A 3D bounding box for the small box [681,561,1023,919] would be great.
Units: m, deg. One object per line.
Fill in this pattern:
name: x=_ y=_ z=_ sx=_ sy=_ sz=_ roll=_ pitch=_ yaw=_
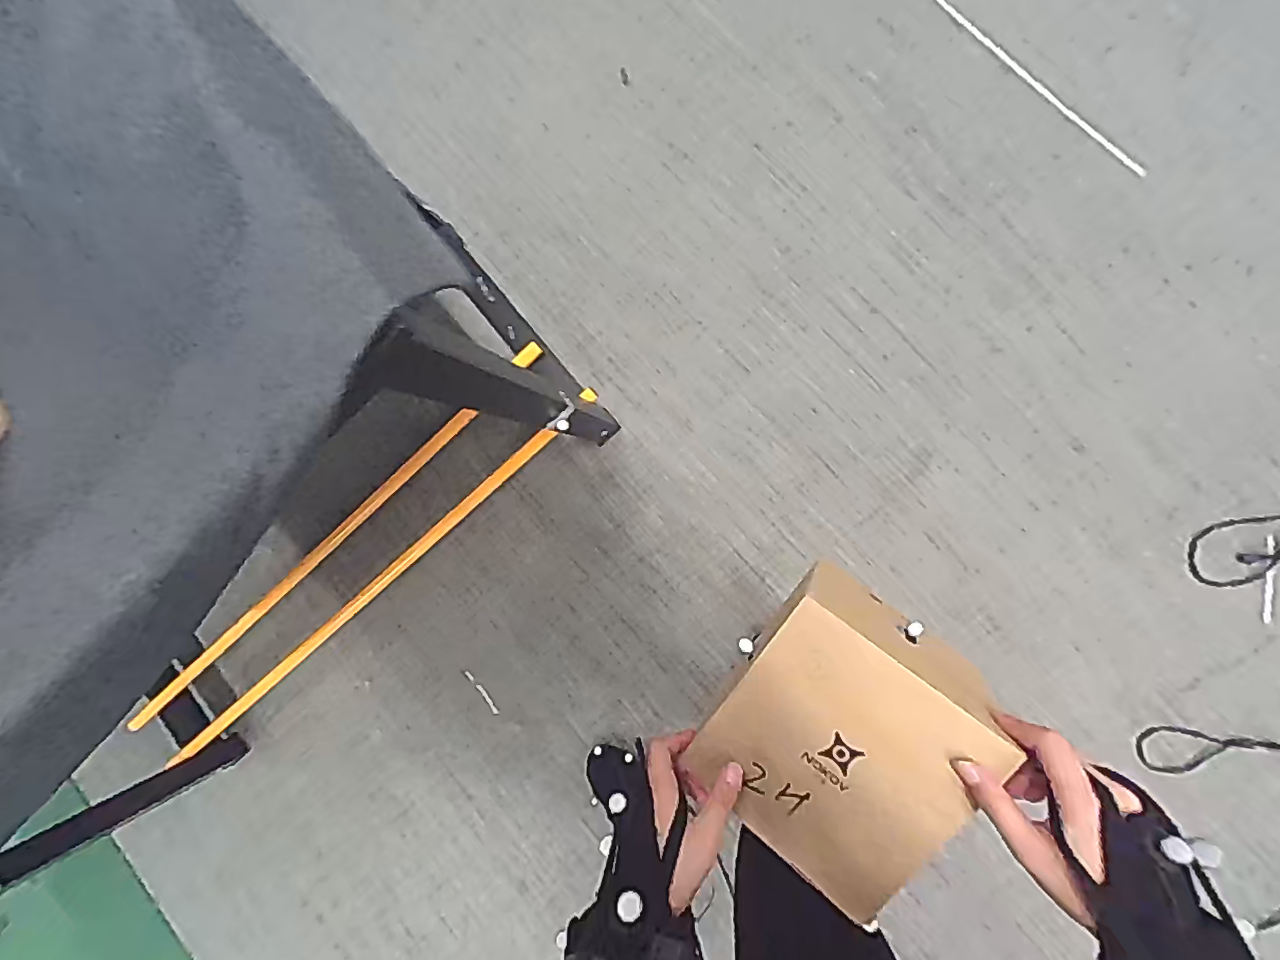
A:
small box: x=0.165 y=0.190 z=0.456 sx=0.168 sy=0.176 sz=0.179 roll=36 pitch=105 yaw=17
